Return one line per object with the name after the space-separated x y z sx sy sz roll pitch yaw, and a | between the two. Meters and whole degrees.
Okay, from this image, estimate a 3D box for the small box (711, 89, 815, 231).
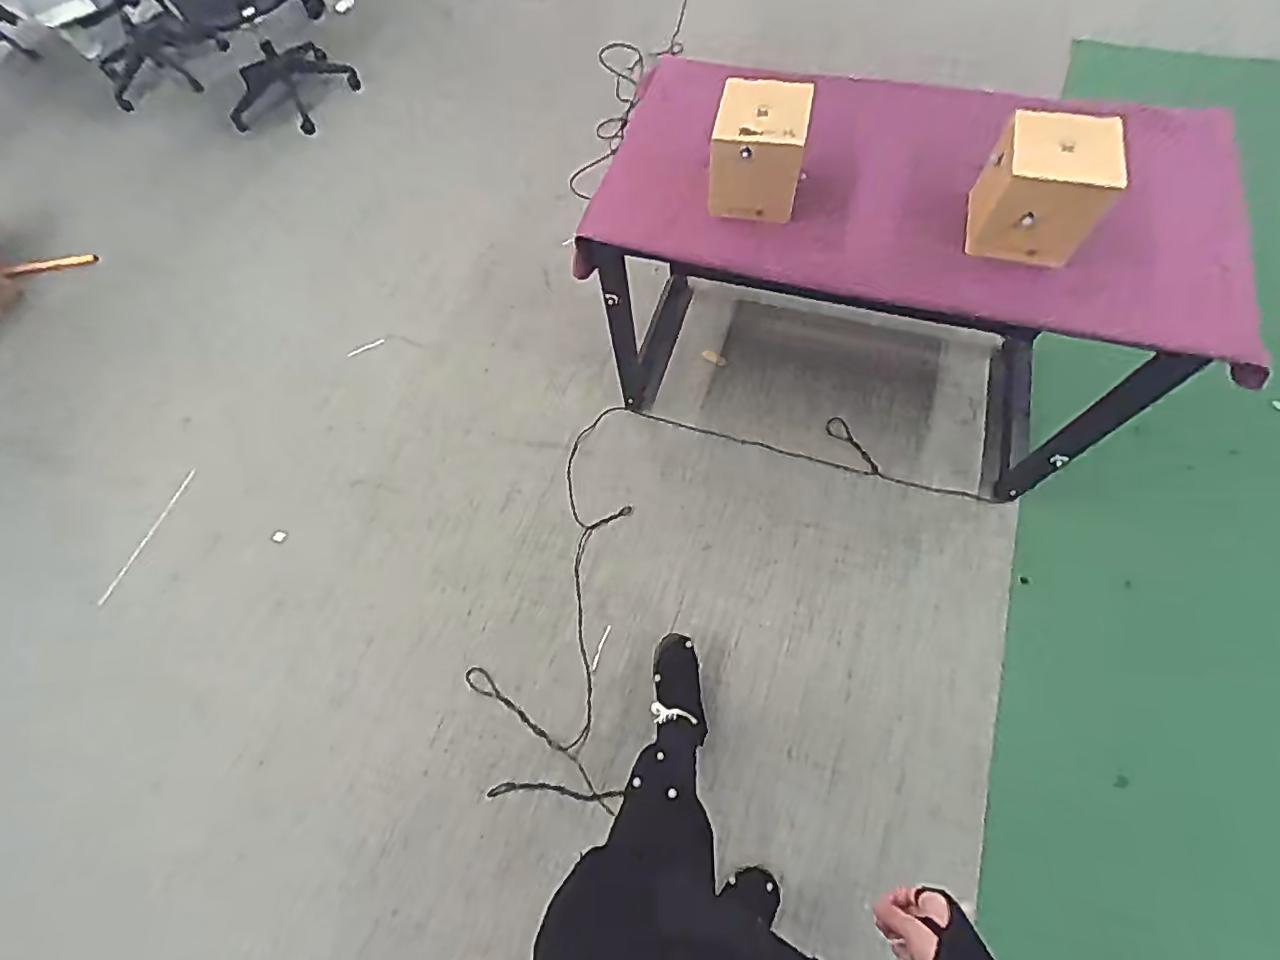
0.235 -0.626 1.062 0.168 0.176 0.179 10 66 10 | small box

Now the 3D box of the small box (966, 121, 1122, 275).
0.704 -0.494 0.959 0.168 0.176 0.179 14 66 12 | small box
